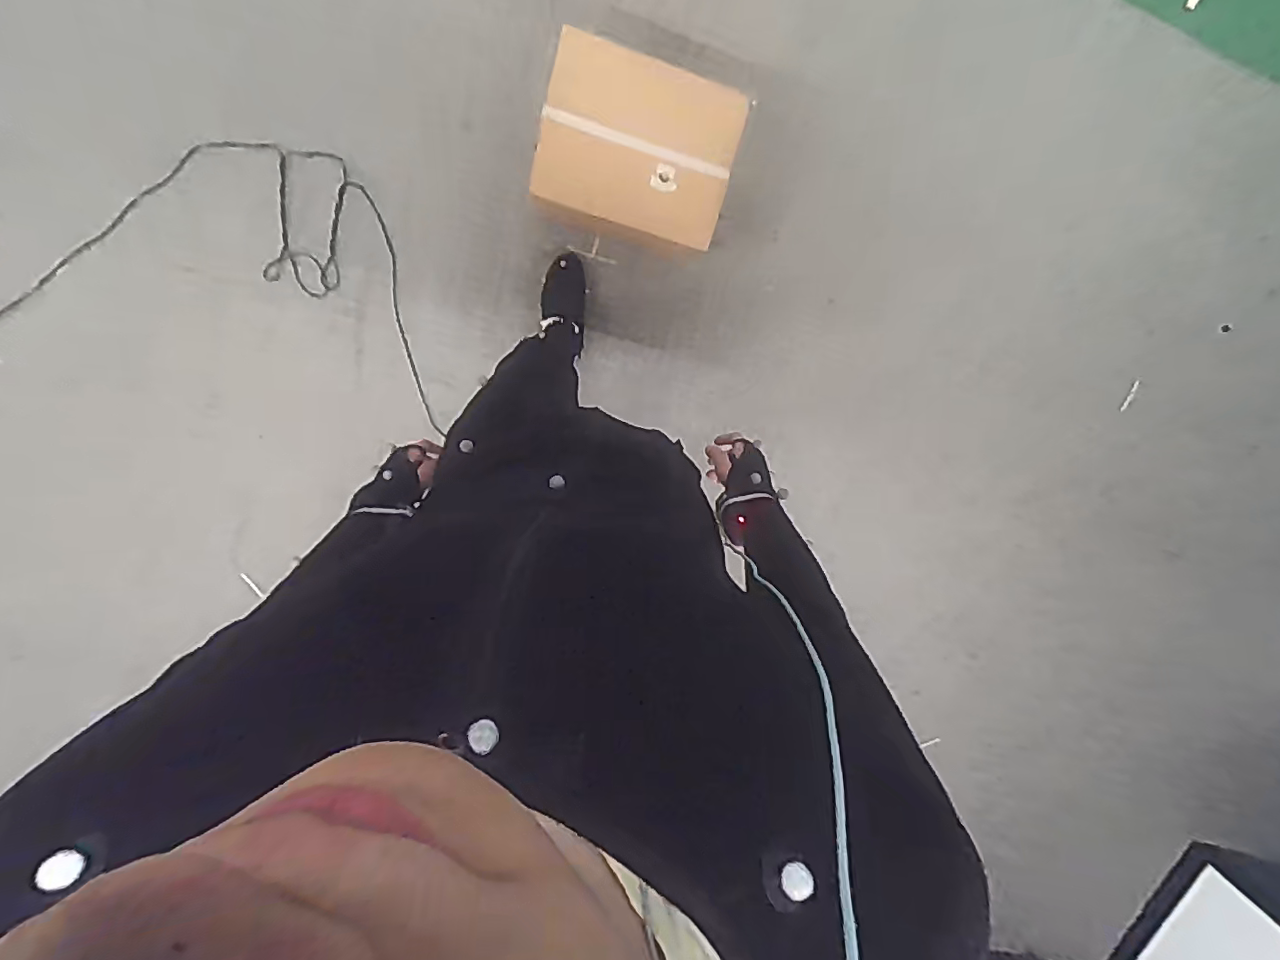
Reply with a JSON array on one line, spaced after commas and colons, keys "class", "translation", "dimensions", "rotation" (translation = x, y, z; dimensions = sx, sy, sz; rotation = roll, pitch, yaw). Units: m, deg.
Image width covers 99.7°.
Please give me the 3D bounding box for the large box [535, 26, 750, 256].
[{"class": "large box", "translation": [-0.015, -0.754, 1.271], "dimensions": [0.408, 0.320, 0.320], "rotation": [13, 106, -10]}]
